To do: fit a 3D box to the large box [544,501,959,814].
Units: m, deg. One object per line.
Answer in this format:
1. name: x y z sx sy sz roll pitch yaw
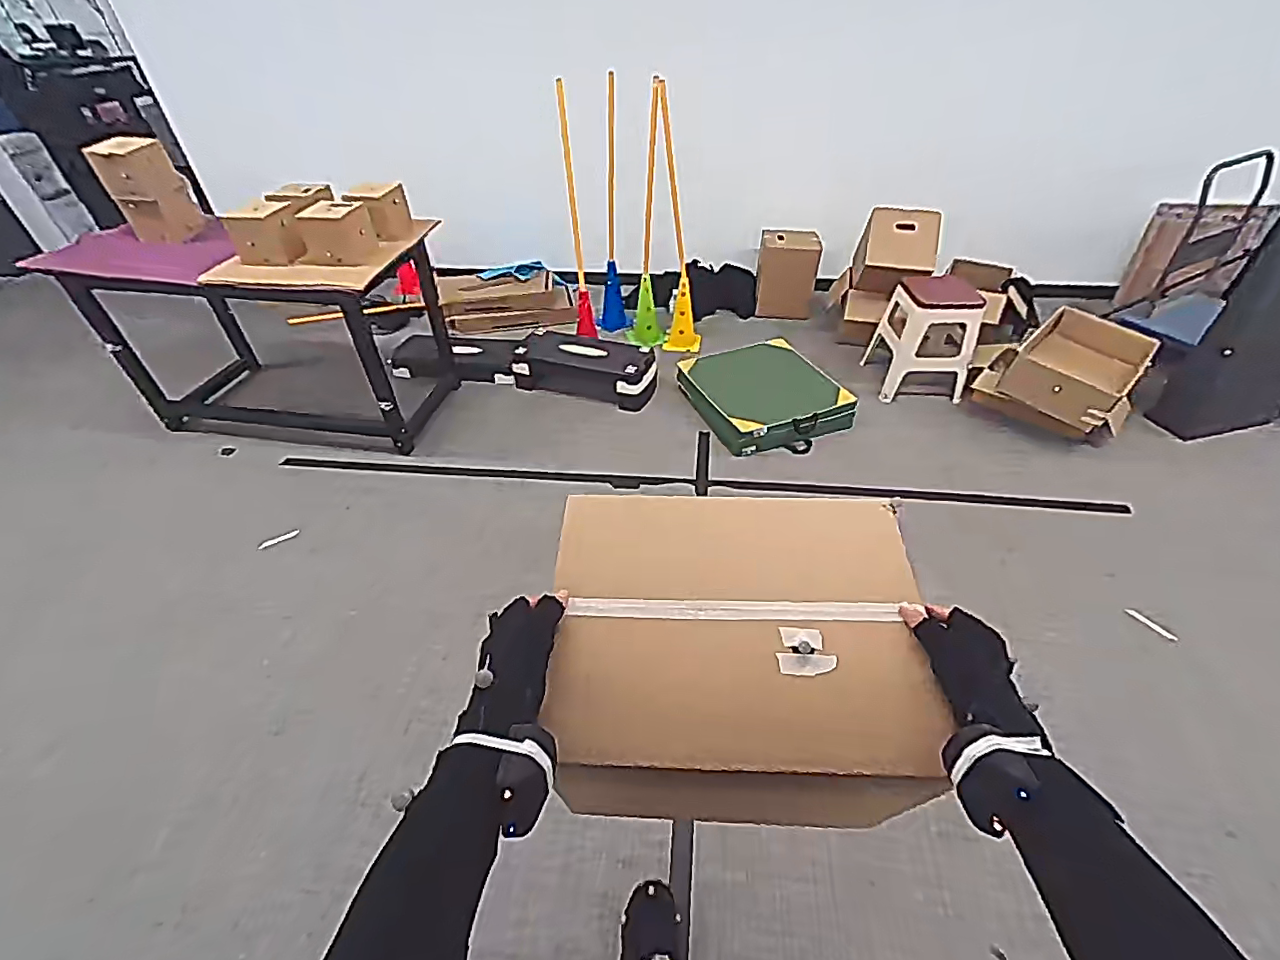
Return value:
1. large box: 0.109 0.241 0.721 0.408 0.320 0.320 1 51 2
